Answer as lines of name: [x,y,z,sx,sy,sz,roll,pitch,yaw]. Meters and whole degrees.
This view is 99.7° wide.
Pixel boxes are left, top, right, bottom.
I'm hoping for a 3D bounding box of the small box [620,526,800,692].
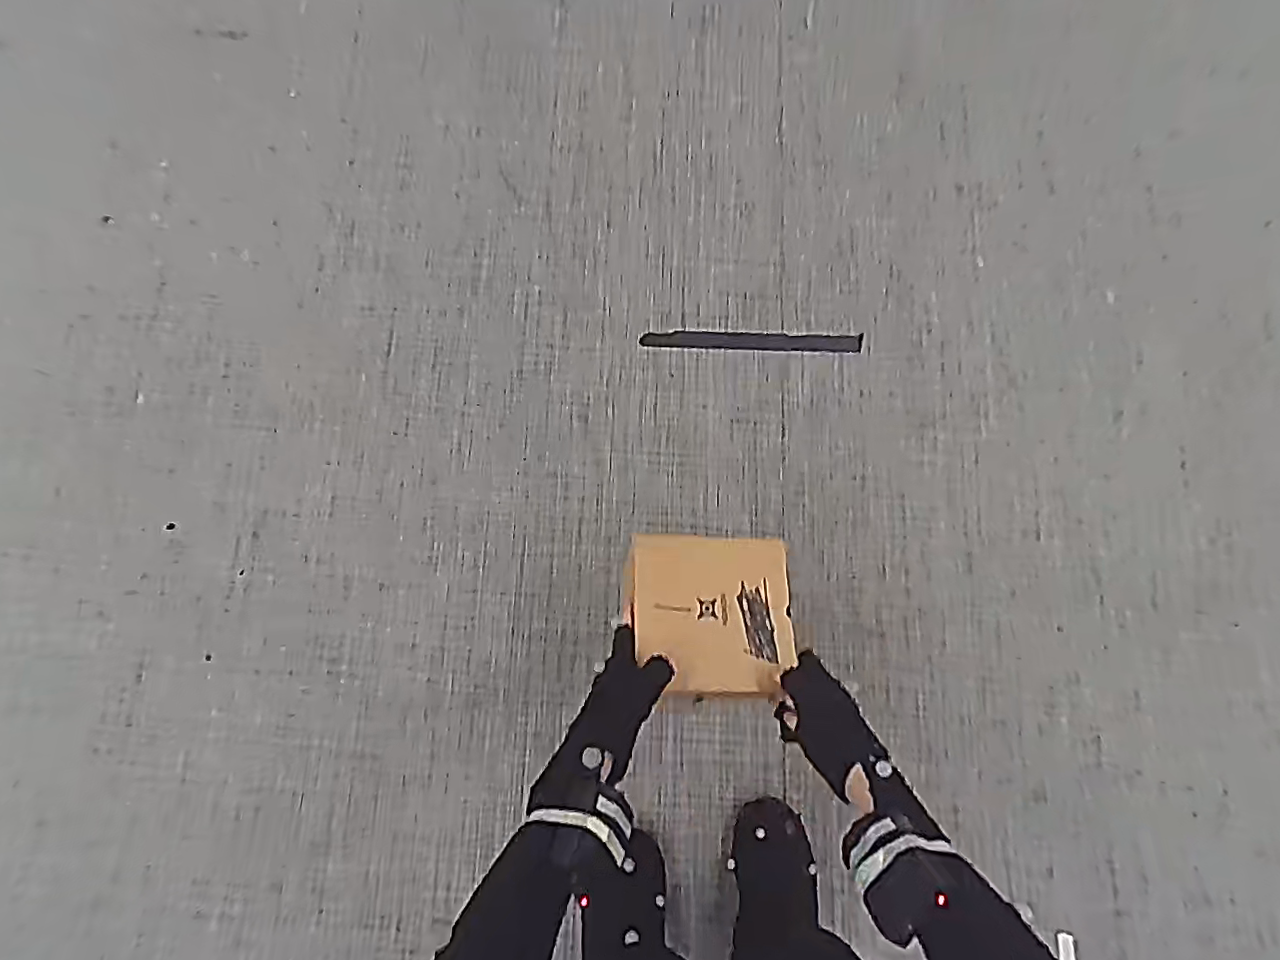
small box: [0.071,0.162,0.648,0.179,0.176,0.168,3,66,-5]
